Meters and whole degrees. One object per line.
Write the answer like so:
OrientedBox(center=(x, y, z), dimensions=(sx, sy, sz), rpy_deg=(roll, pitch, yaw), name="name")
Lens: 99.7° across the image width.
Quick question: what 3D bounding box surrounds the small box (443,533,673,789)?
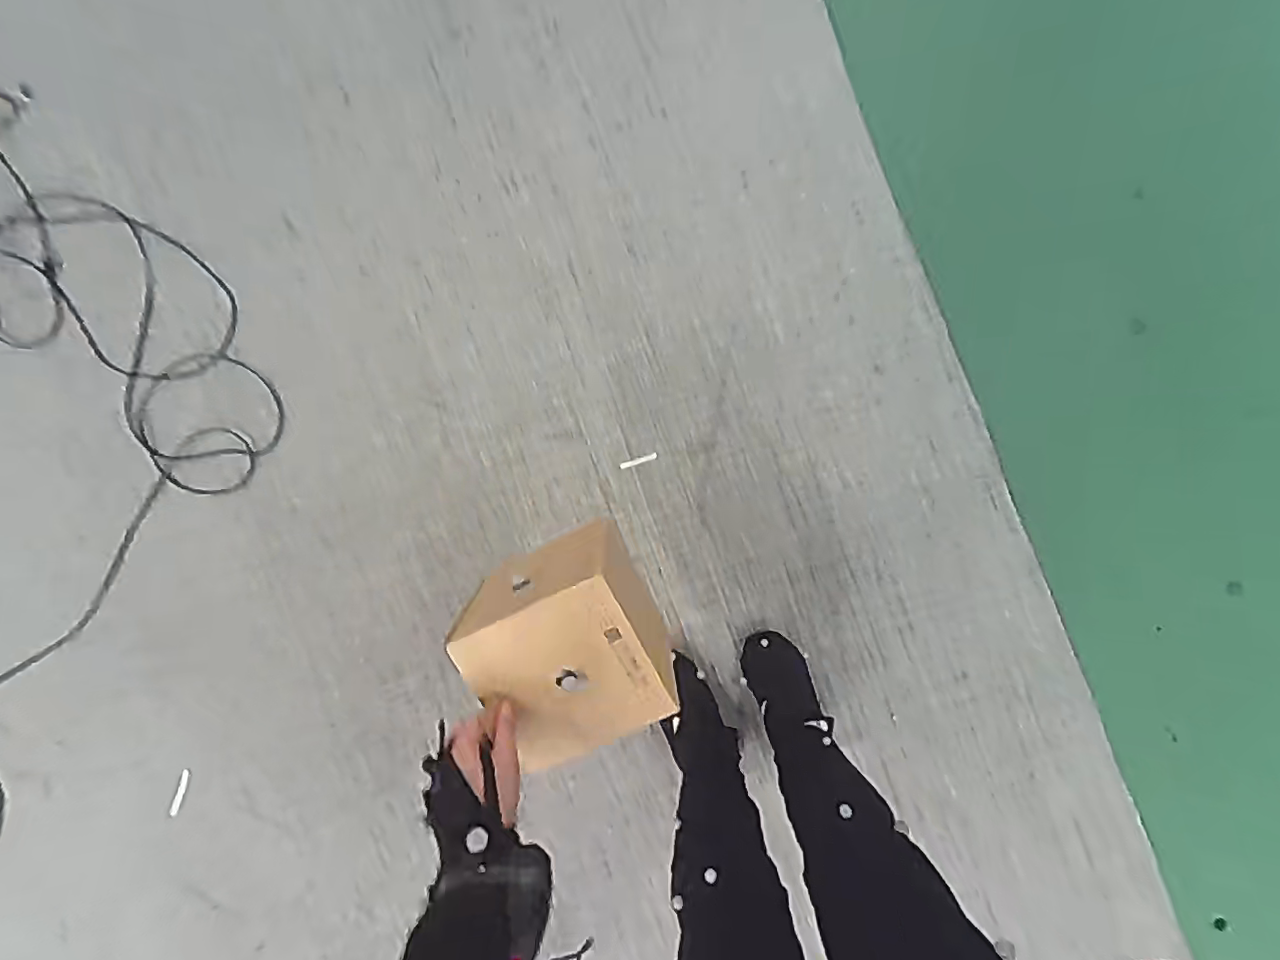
OrientedBox(center=(-0.078, 0.181, 0.594), dimensions=(0.176, 0.179, 0.168), rpy_deg=(-29, 103, 2), name="small box")
